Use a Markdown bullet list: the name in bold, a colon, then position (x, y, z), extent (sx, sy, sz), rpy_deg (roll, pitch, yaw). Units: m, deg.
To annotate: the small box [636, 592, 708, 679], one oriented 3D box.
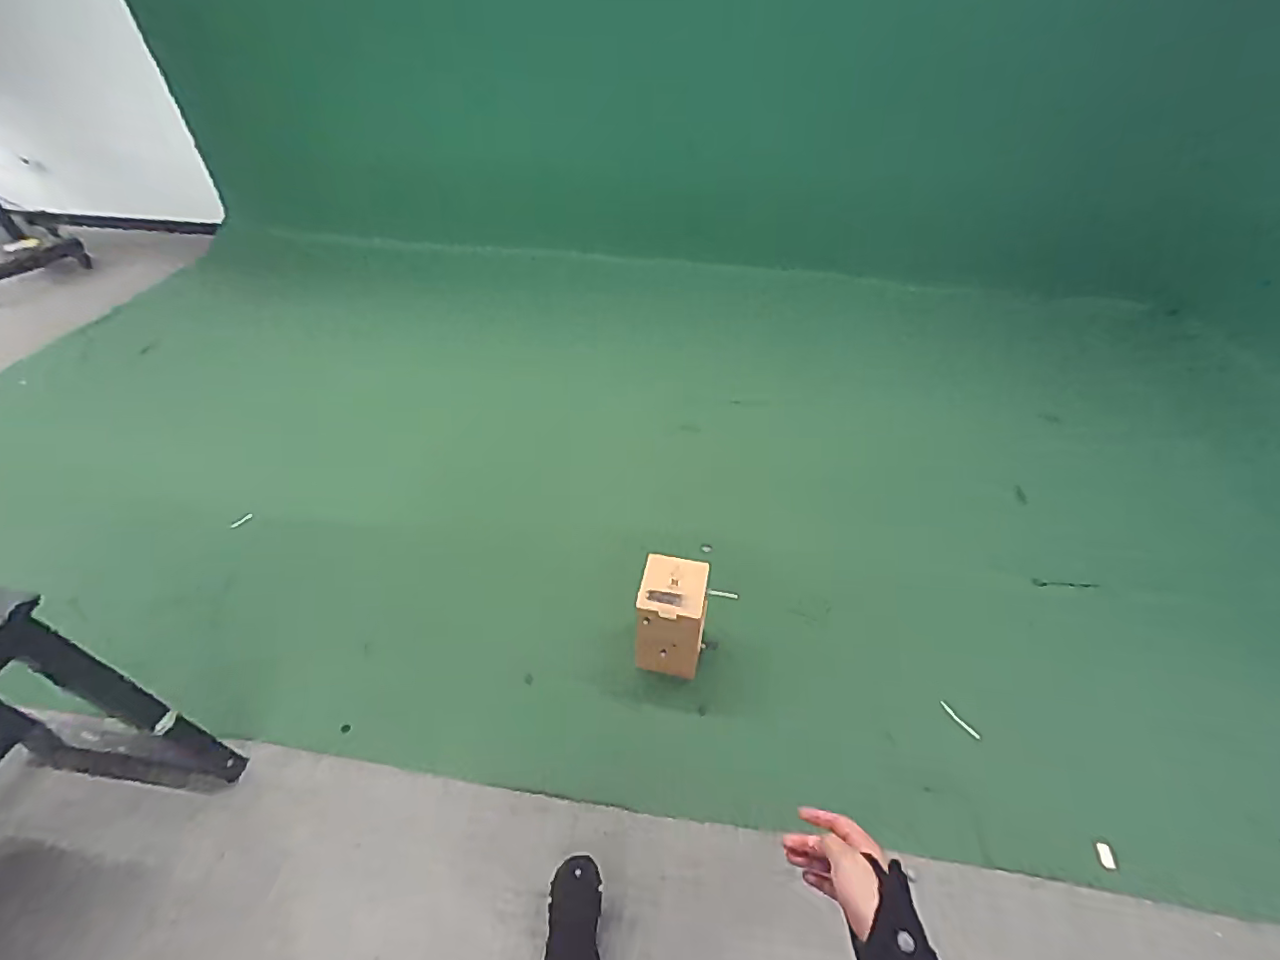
- **small box**: position (0.090, 0.449, 1.545), extent (0.179, 0.176, 0.168), rpy_deg (9, 45, 9)
